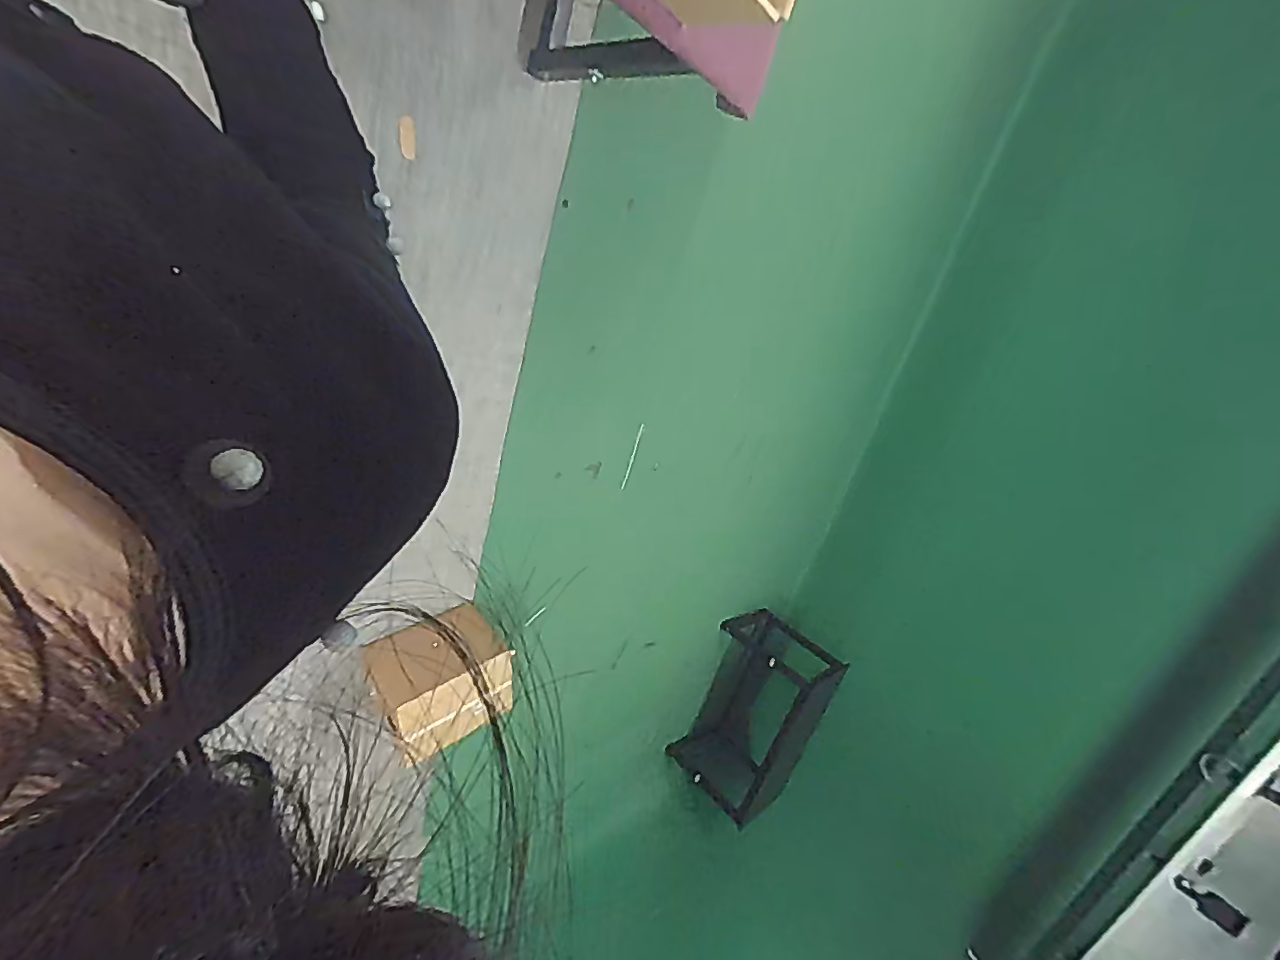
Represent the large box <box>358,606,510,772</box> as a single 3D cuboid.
[{"bbox_3d":[-0.721,0.722,1.928,0.408,0.320,0.320,-20,130,-40],"label":"large box"}]
